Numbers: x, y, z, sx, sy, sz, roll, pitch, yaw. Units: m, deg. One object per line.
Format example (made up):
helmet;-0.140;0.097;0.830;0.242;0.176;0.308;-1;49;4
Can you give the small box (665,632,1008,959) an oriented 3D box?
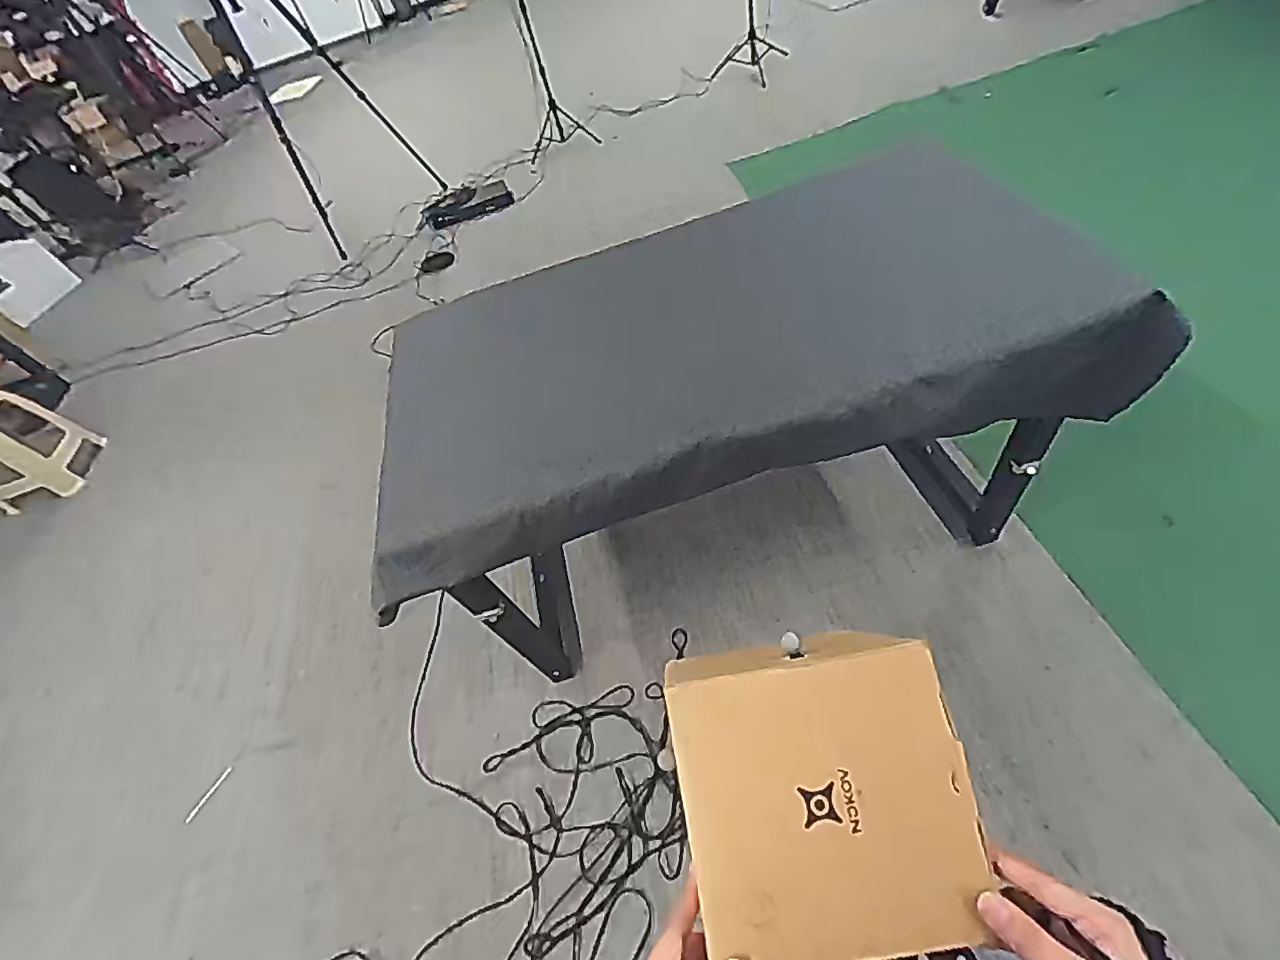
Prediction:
small box;0.118;0.212;0.407;0.179;0.176;0.168;-10;76;0
